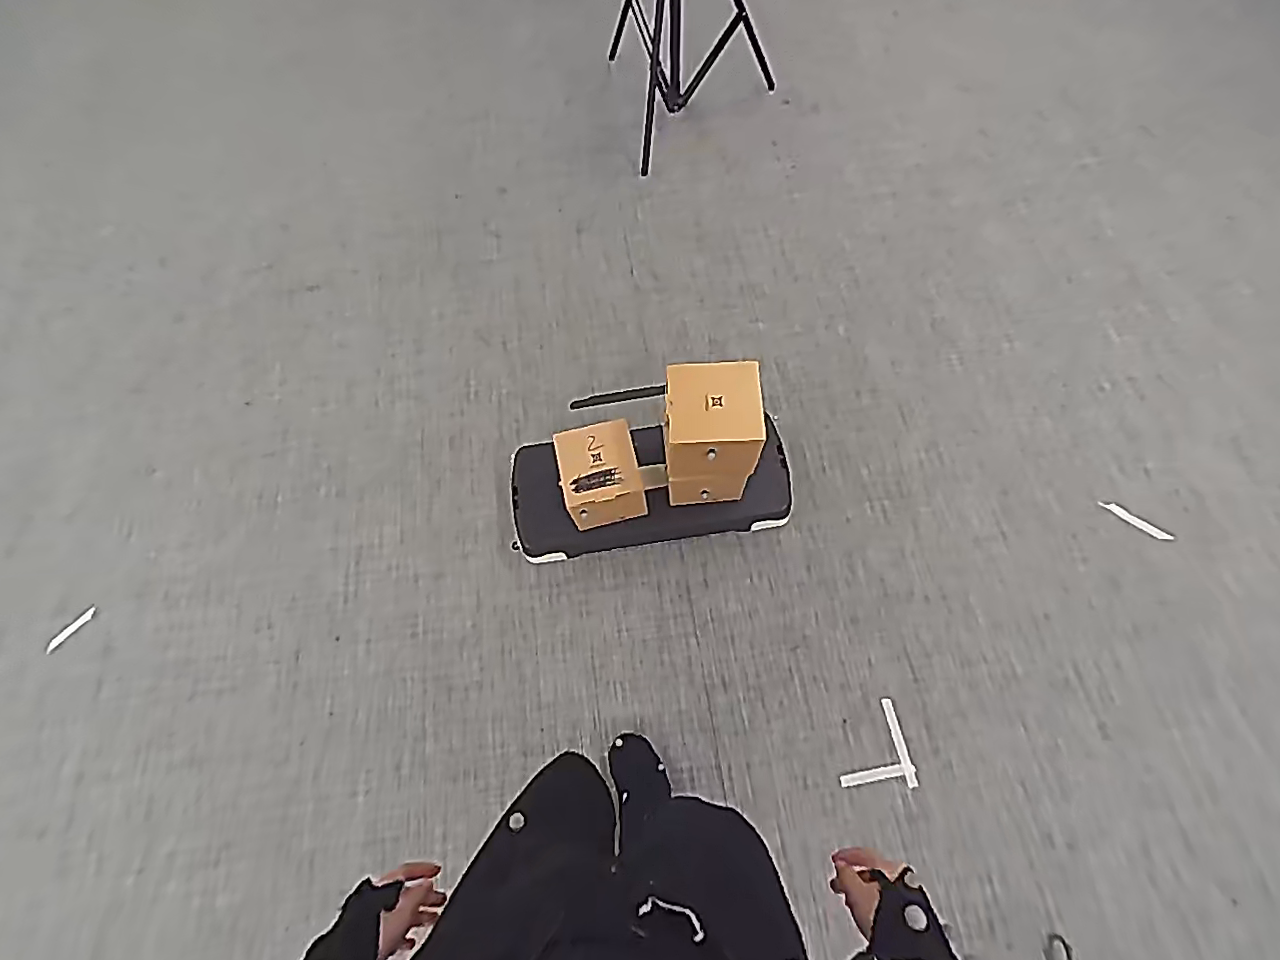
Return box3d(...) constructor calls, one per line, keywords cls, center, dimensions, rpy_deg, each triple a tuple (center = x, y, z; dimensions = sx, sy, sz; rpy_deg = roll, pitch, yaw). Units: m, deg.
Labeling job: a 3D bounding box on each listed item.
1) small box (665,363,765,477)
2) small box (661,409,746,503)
box3d(cls="small box", center=(0.139, -0.112, 1.062), dimensions=(0.179, 0.176, 0.168), rpy_deg=(-3, 69, 3))
box3d(cls="small box", center=(0.138, -0.052, 1.214), dimensions=(0.168, 0.176, 0.179), rpy_deg=(-5, 69, 1))
